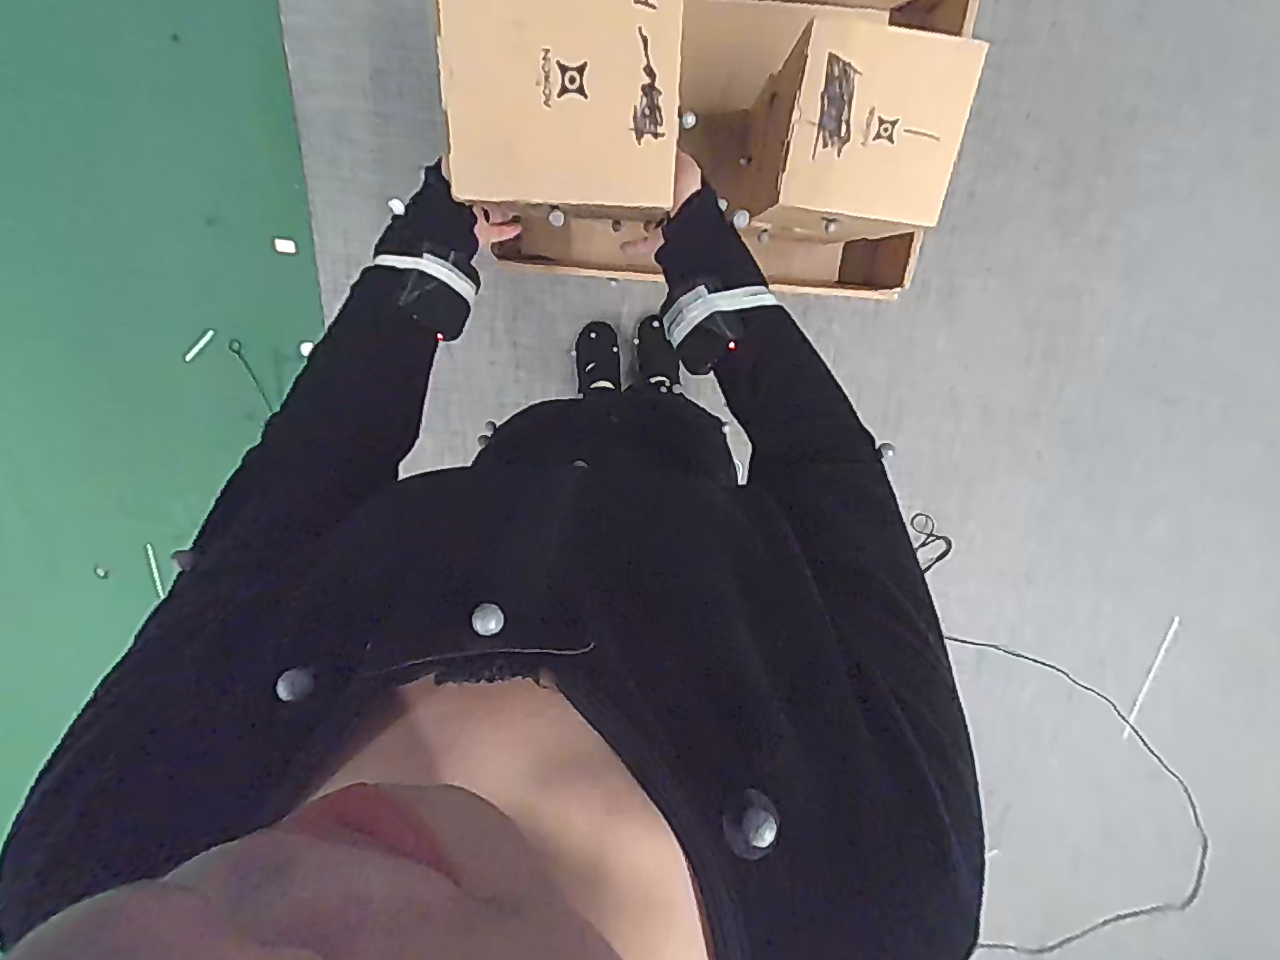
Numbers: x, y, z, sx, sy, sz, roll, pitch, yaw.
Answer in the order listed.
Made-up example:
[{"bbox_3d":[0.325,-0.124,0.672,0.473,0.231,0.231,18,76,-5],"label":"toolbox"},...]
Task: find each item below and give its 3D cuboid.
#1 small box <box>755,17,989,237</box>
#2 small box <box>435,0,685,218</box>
[{"bbox_3d":[0.241,-0.381,0.617,0.179,0.176,0.168,7,111,-2],"label":"small box"},{"bbox_3d":[-0.056,-0.323,0.465,0.179,0.176,0.168,3,113,0],"label":"small box"}]
